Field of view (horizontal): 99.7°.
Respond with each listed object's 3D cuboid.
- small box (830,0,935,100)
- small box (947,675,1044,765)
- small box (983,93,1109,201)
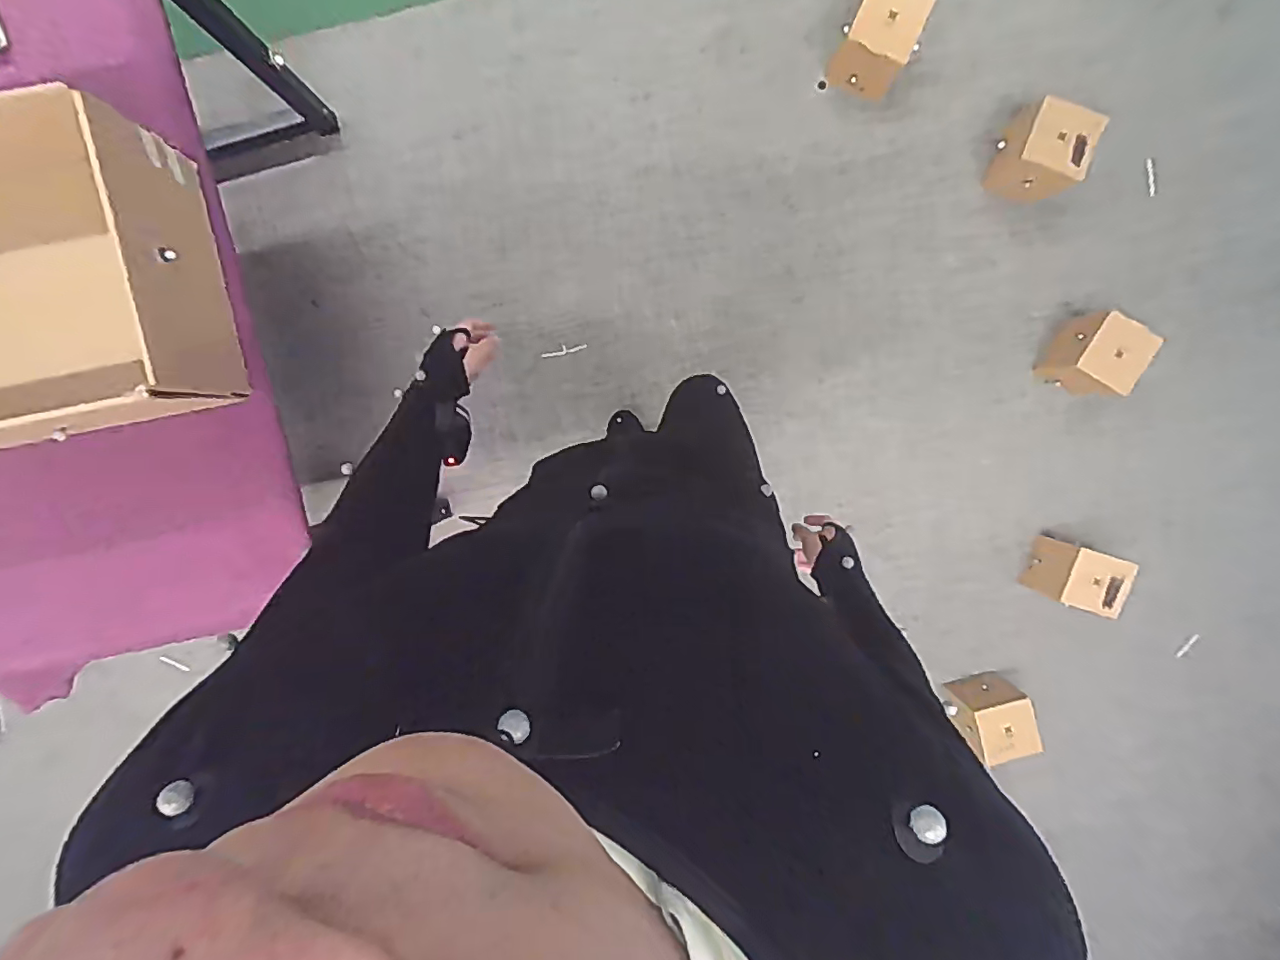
[{"bbox_3d":[0.625,-1.159,1.418,0.168,0.176,0.179,23,97,-3],"label":"small box"},{"bbox_3d":[1.056,0.708,1.620,0.168,0.176,0.179,-16,96,2],"label":"small box"},{"bbox_3d":[1.077,-0.878,1.447,0.179,0.176,0.168,20,96,-2],"label":"small box"}]
